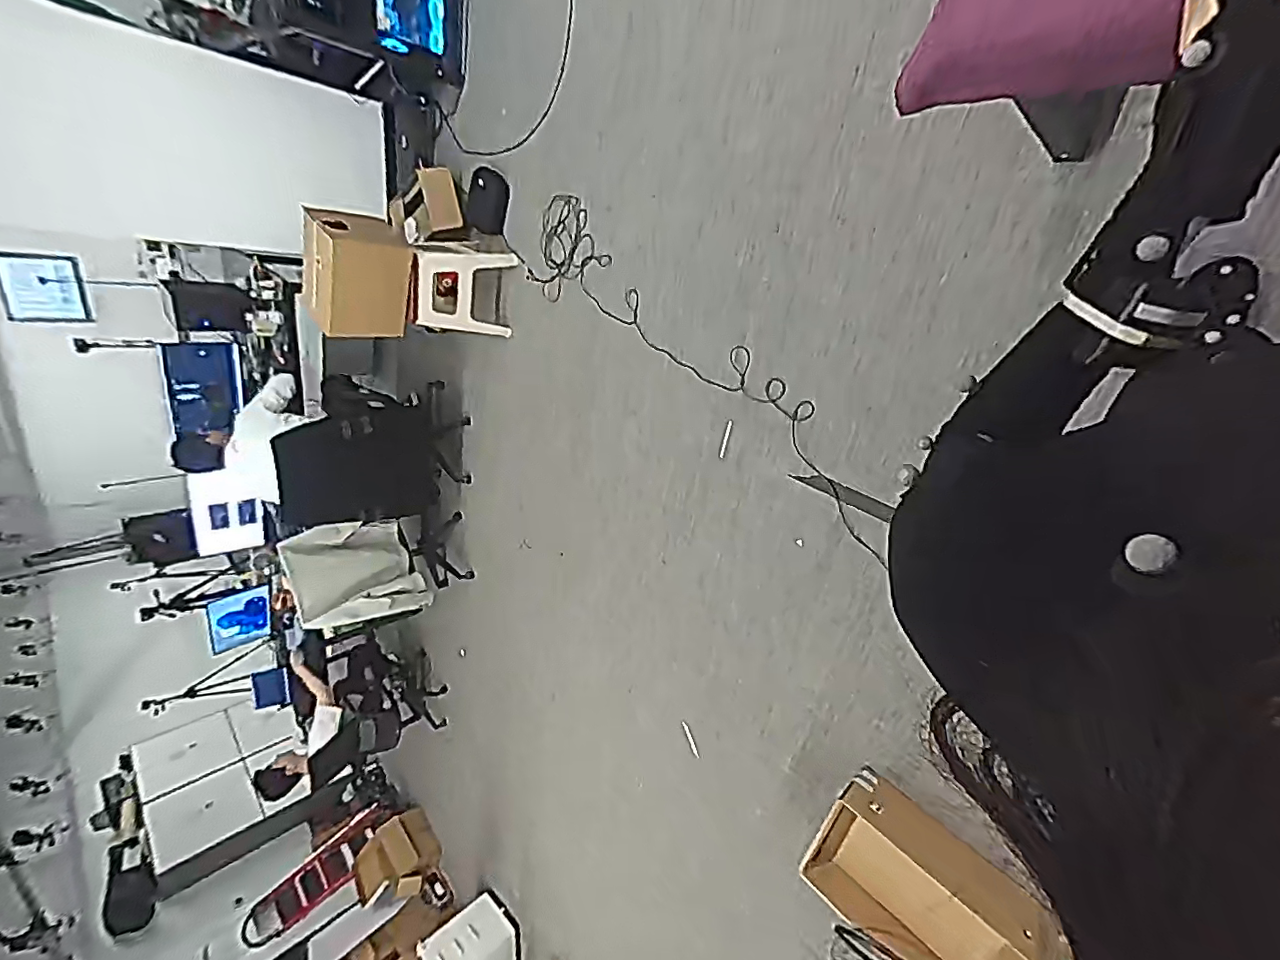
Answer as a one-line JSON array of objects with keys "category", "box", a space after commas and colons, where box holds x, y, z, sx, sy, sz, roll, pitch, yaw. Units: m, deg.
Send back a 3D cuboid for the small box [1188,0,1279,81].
[{"category": "small box", "box": [0.449, -0.368, 0.300, 0.168, 0.176, 0.179, 3, 110, 33]}]
